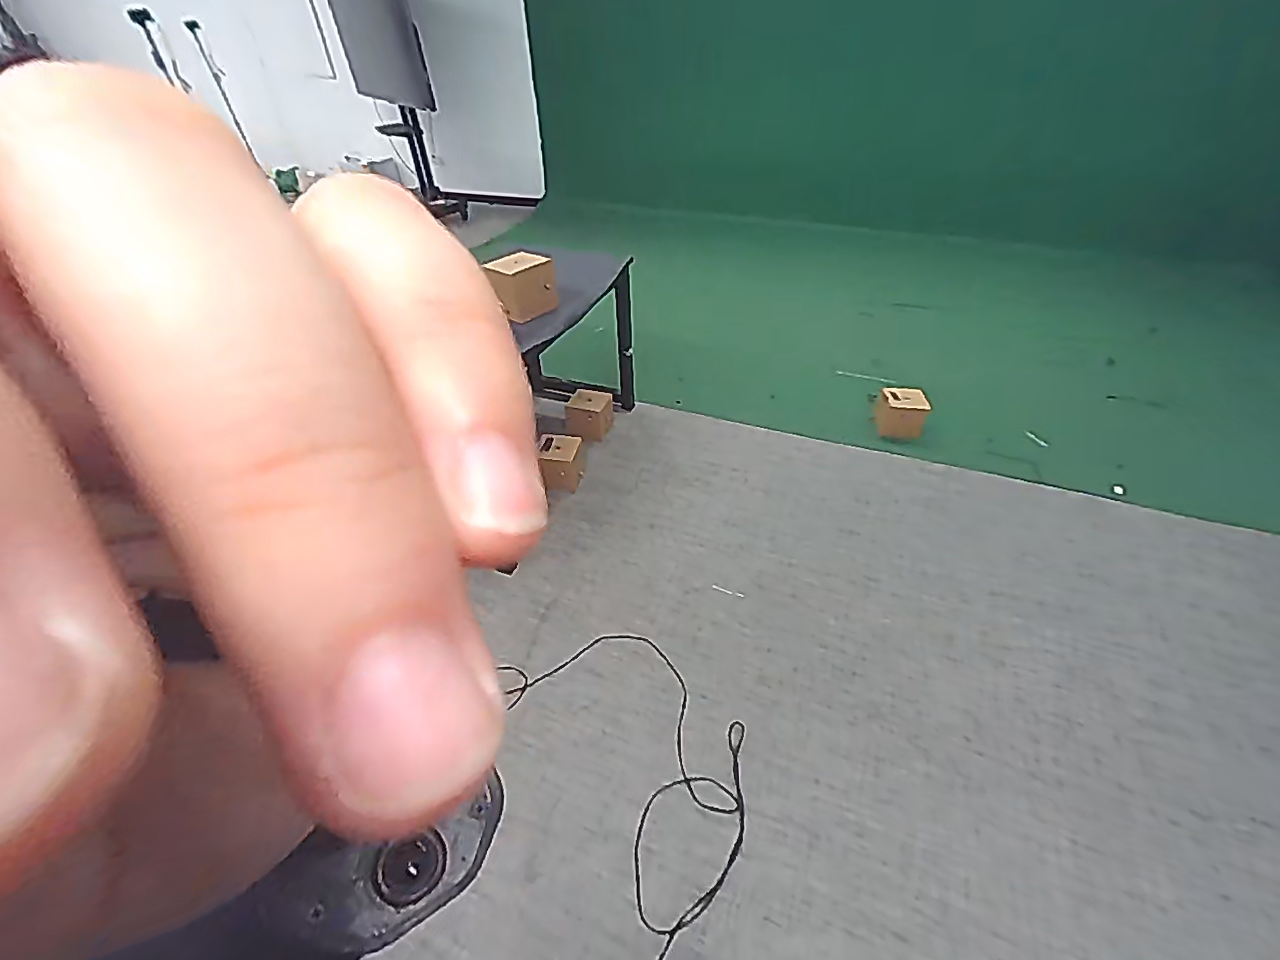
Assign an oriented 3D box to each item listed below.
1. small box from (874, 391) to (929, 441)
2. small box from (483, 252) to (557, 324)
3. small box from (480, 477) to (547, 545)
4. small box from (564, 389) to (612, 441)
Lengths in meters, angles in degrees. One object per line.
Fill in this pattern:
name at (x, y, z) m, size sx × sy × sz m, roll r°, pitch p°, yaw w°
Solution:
small box at (1.194, -0.294, 2.490) m, size 0.179 × 0.176 × 0.168 m, roll 4°, pitch 41°, yaw 5°
small box at (-0.398, -0.650, 1.831) m, size 0.168 × 0.176 × 0.179 m, roll 27°, pitch 50°, yaw 33°
small box at (-0.472, 0.122, 2.058) m, size 0.179 × 0.176 × 0.168 m, roll 17°, pitch 44°, yaw 20°
small box at (-0.237, -0.303, 2.535) m, size 0.179 × 0.176 × 0.168 m, roll 11°, pitch 42°, yaw 13°
